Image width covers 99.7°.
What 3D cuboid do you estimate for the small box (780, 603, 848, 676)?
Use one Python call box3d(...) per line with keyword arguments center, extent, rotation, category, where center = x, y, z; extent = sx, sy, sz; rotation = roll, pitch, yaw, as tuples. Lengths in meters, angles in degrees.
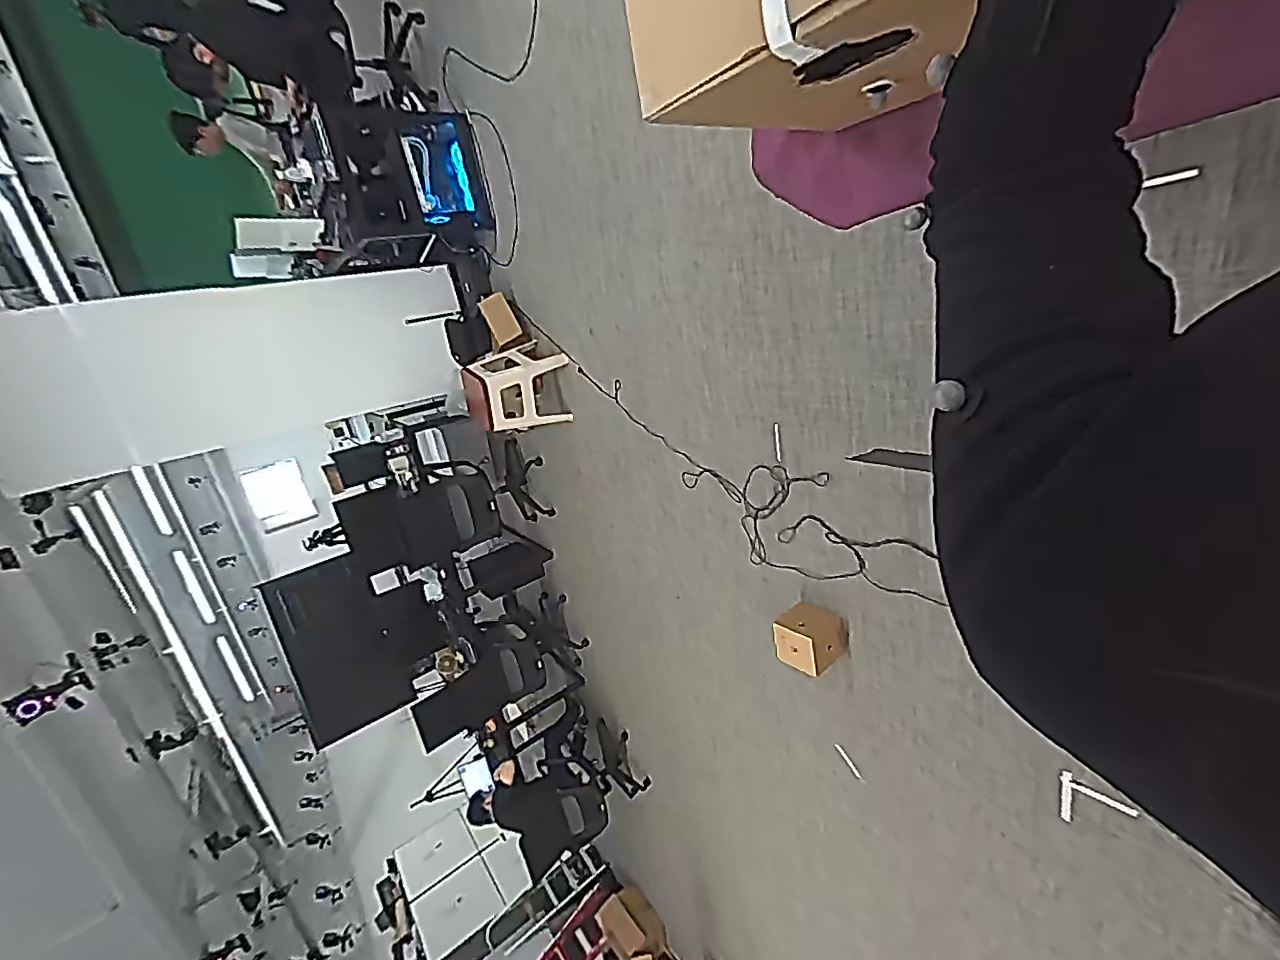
box3d(center=(0.638, 0.572, 1.965), extent=(0.179, 0.176, 0.168), rotation=(14, 120, 54), category="small box")
